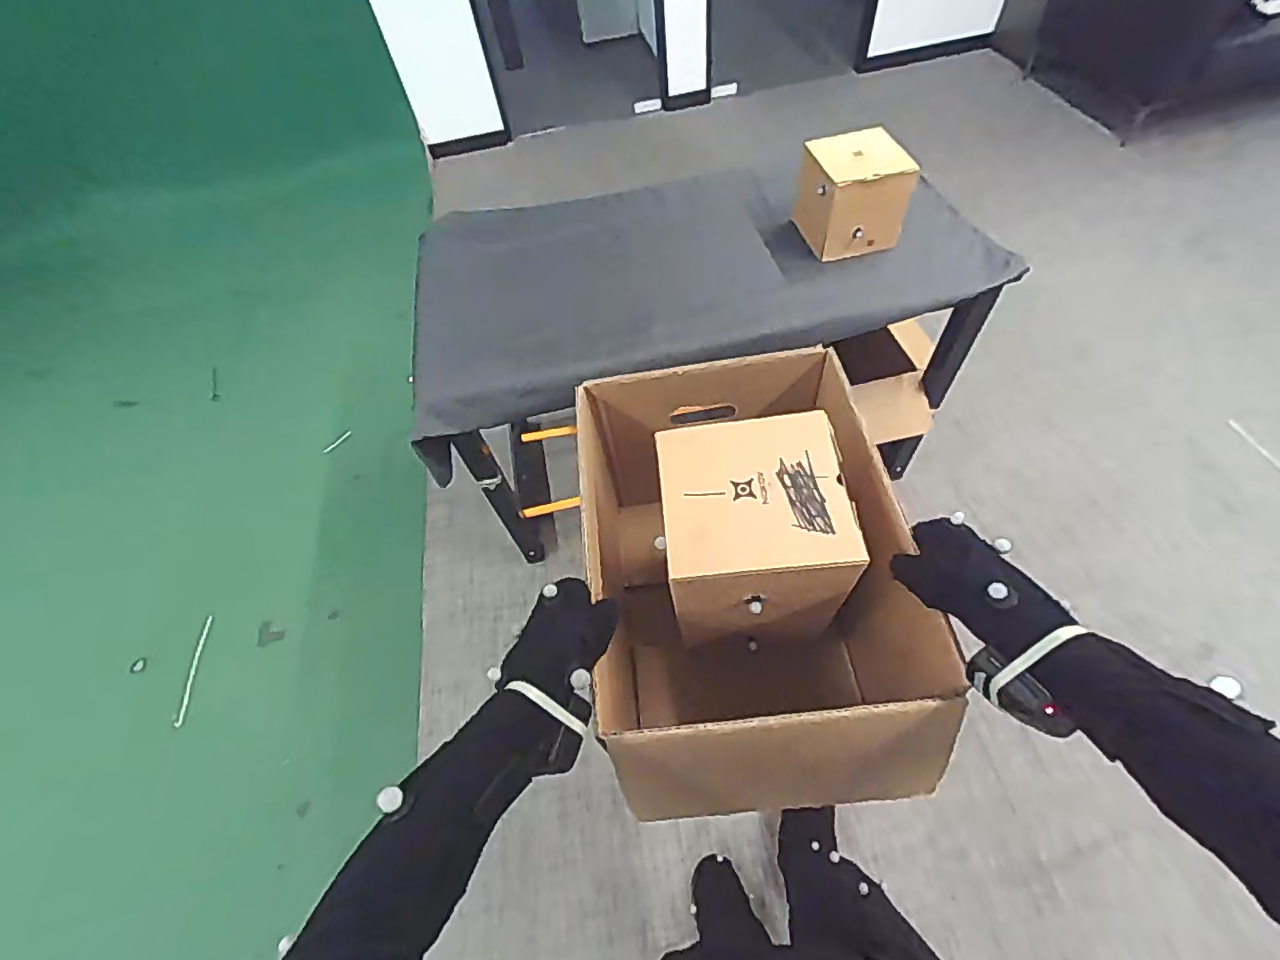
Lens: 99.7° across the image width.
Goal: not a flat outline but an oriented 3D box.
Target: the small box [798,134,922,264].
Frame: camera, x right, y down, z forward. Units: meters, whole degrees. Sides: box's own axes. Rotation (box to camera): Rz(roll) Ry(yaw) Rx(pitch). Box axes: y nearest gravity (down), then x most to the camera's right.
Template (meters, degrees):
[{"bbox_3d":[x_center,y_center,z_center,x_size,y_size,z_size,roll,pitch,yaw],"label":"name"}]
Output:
[{"bbox_3d":[0.441,-0.580,1.122,0.168,0.176,0.179,-12,56,-1],"label":"small box"}]
